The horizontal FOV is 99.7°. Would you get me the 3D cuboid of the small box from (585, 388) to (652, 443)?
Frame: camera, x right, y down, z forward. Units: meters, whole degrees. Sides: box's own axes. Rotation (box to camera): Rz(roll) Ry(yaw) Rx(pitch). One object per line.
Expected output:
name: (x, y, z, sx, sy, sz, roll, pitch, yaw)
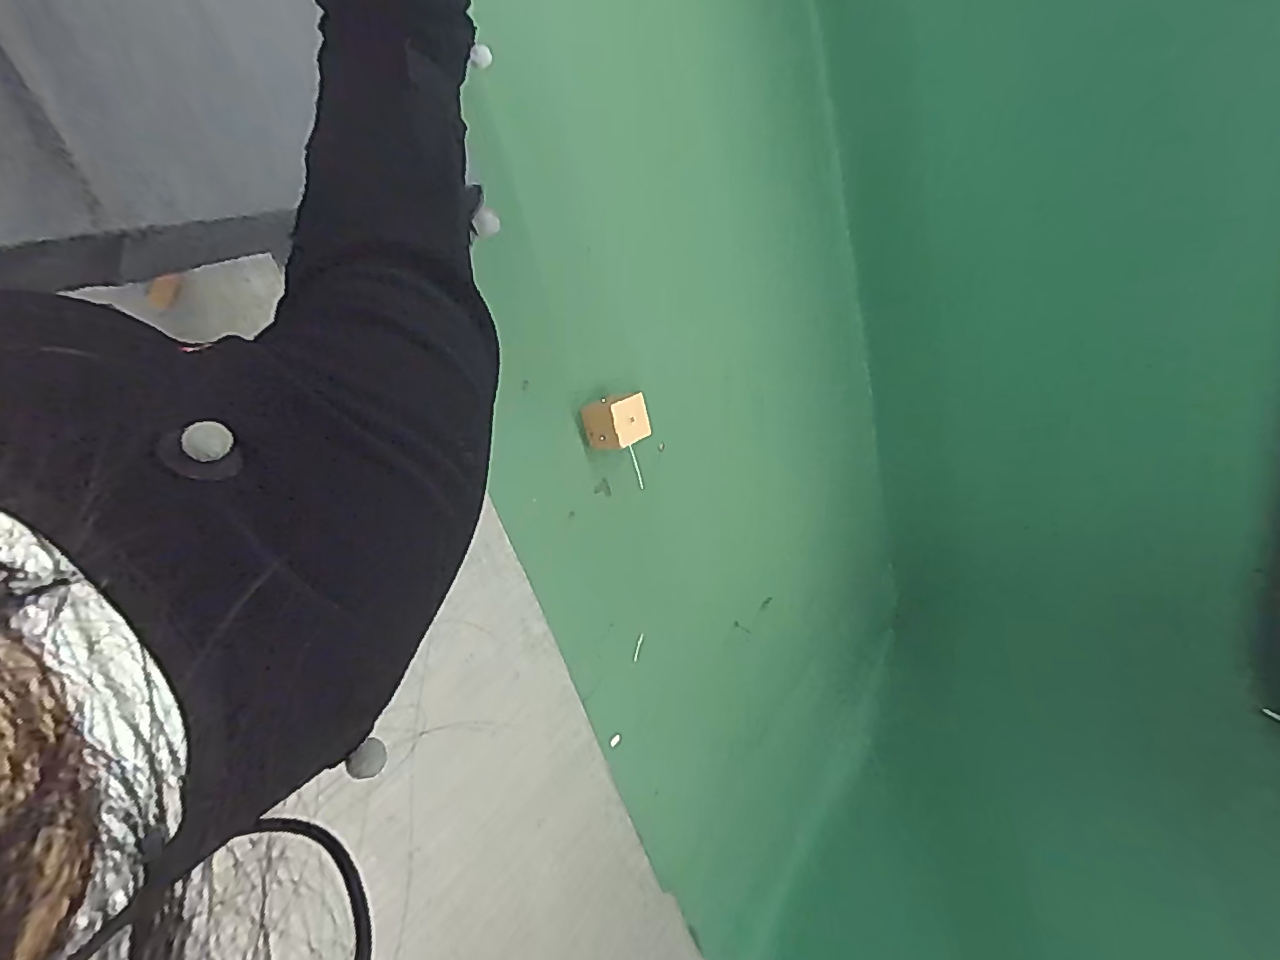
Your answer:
small box: (-0.086, -0.238, 2.021, 0.179, 0.176, 0.168, -30, 114, -41)
